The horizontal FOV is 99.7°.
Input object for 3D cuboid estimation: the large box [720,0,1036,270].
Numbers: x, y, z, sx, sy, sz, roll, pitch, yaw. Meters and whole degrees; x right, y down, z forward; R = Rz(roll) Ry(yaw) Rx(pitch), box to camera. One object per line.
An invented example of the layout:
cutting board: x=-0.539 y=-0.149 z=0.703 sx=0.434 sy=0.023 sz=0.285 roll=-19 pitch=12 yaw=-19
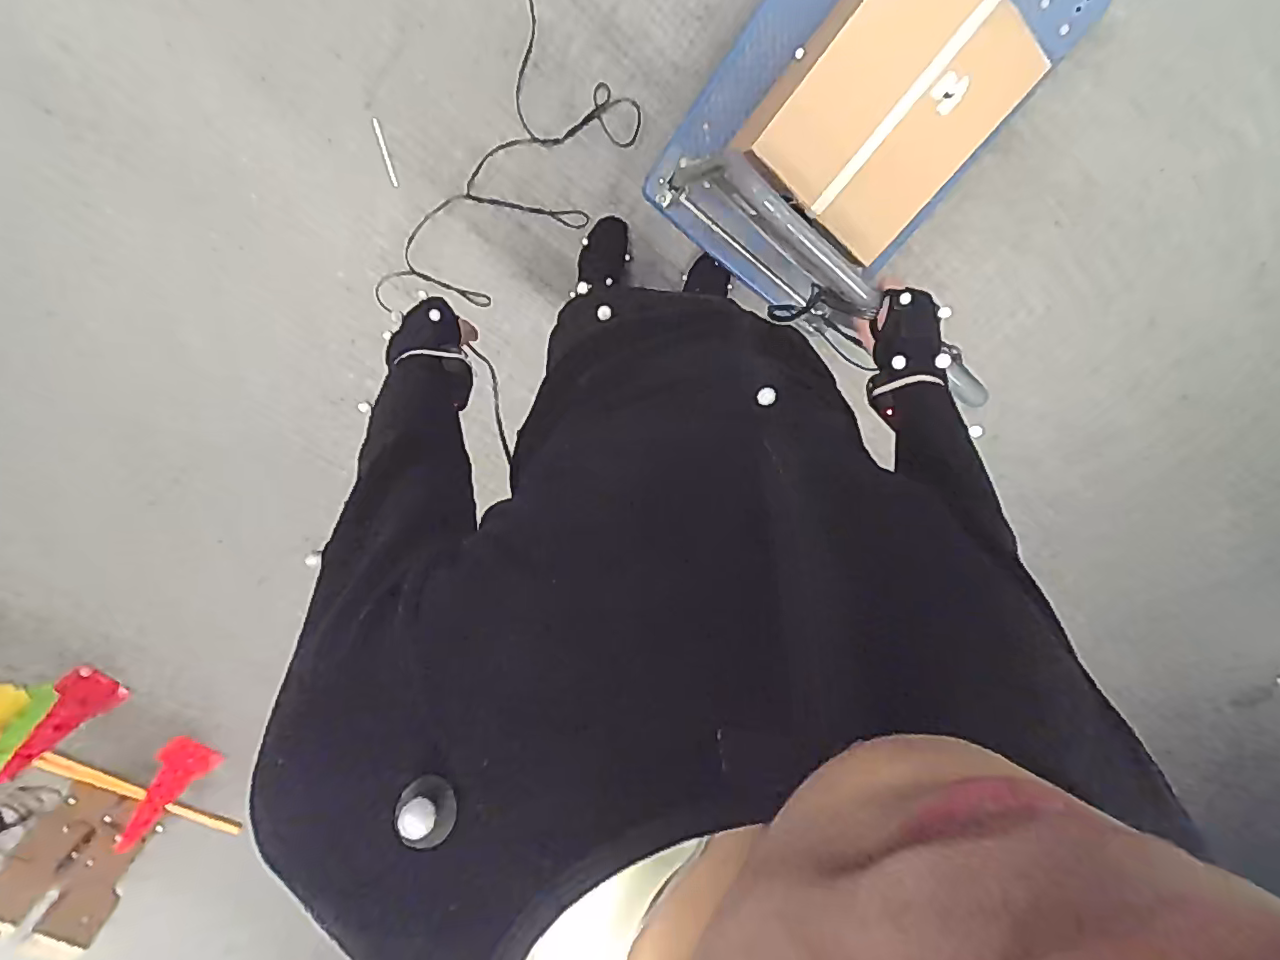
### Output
large box: x=0.419 y=-0.684 z=1.054 sx=0.320 sy=0.320 sz=0.408 roll=35 pitch=109 yaw=-19
